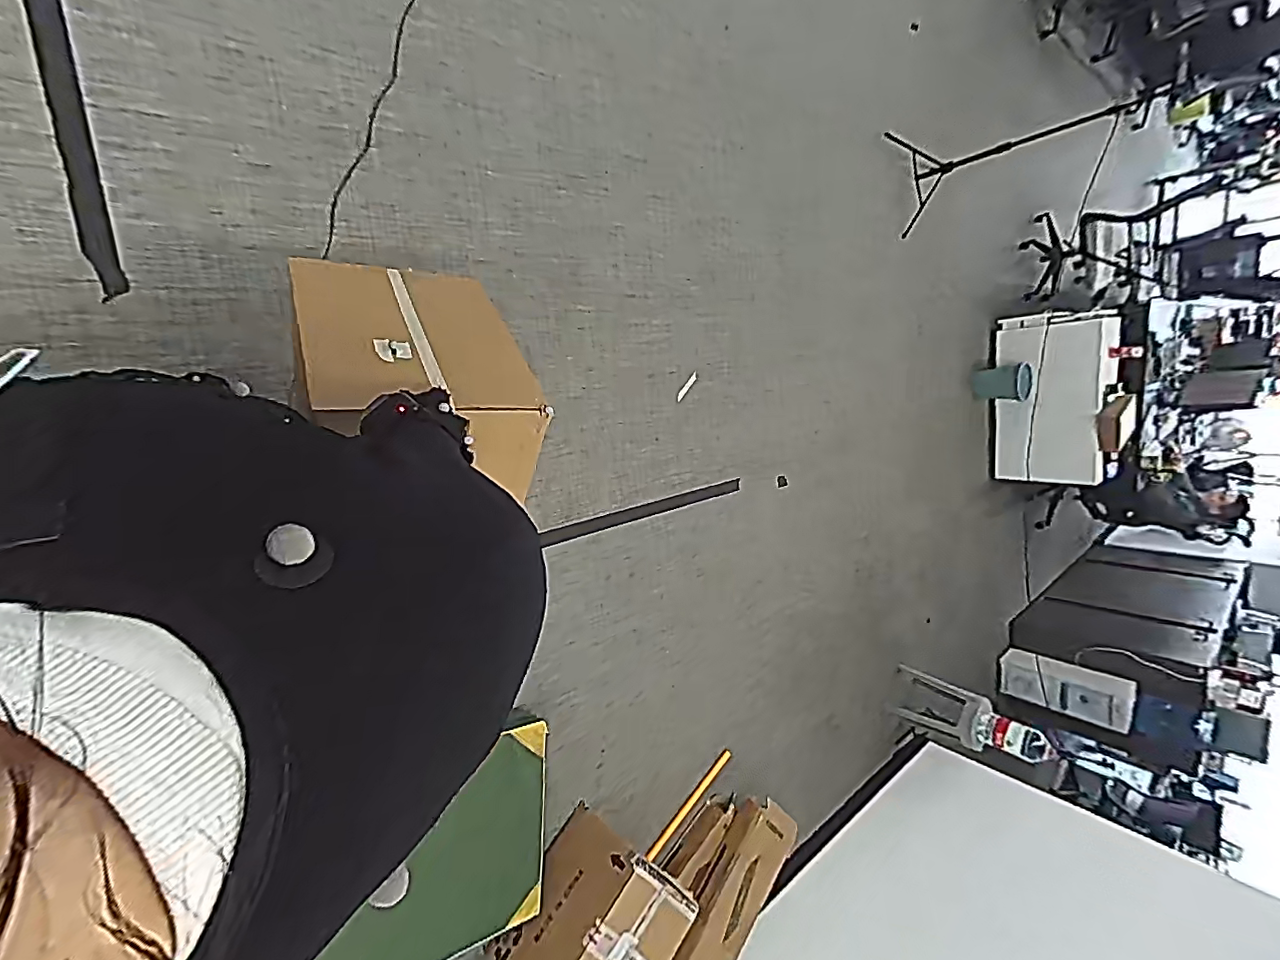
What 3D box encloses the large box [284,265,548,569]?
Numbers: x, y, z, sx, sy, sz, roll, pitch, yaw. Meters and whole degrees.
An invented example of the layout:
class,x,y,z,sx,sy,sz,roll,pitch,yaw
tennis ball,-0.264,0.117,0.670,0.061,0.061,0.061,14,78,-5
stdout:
class,x,y,z,sx,sy,sz,roll,pitch,yaw
large box,-0.407,-0.114,0.936,0.320,0.408,0.320,-6,138,-34
